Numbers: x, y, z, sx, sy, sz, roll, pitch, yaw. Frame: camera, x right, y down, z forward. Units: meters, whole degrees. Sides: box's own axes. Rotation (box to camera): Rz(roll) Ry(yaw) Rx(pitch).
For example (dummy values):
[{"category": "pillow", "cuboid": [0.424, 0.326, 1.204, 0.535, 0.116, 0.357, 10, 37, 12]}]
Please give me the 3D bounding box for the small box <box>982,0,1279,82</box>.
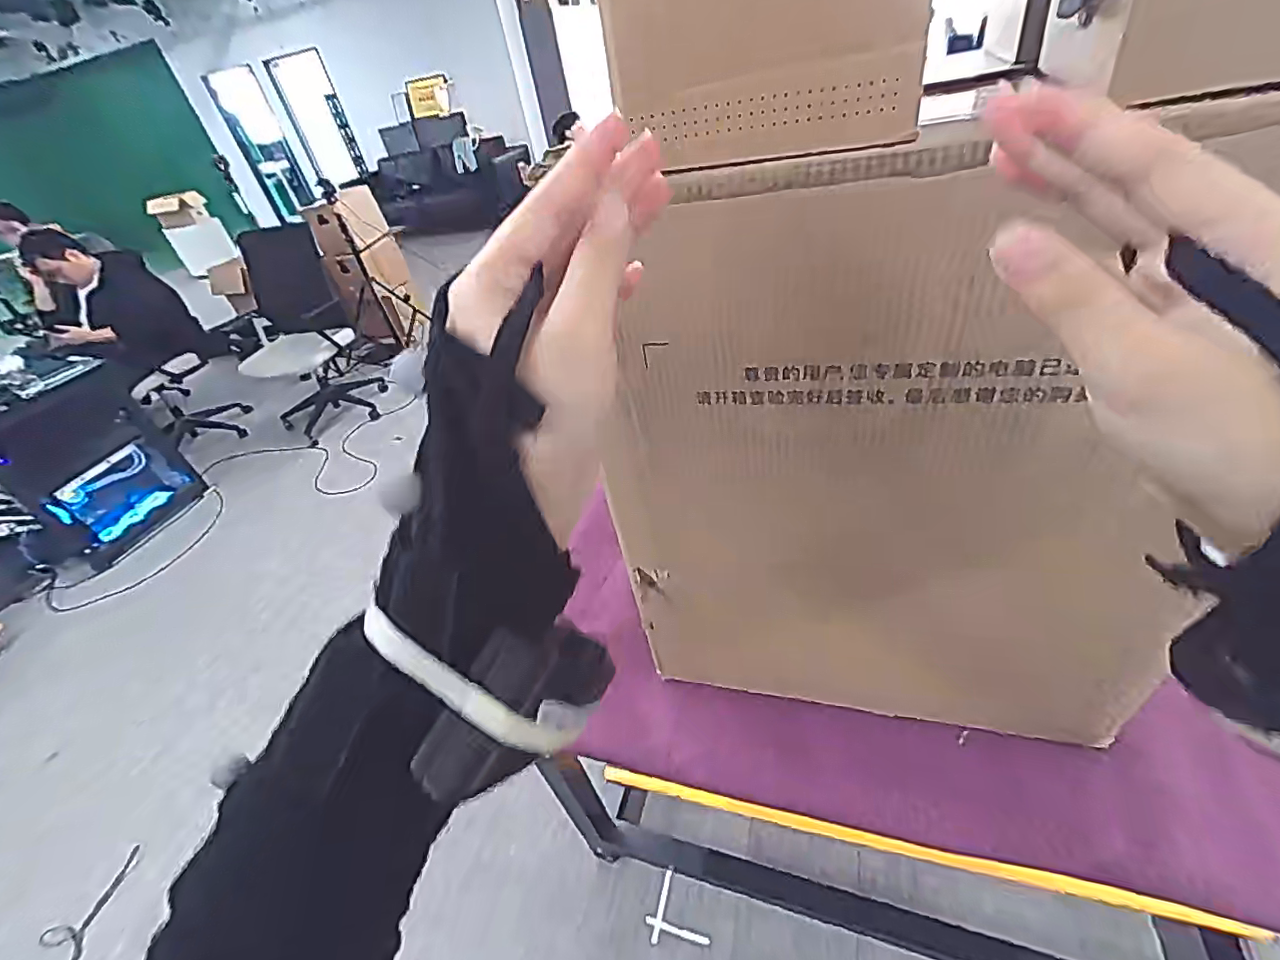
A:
[{"category": "small box", "cuboid": [0.381, -0.425, 0.415, 0.168, 0.176, 0.179, 4, 41, 21]}]
